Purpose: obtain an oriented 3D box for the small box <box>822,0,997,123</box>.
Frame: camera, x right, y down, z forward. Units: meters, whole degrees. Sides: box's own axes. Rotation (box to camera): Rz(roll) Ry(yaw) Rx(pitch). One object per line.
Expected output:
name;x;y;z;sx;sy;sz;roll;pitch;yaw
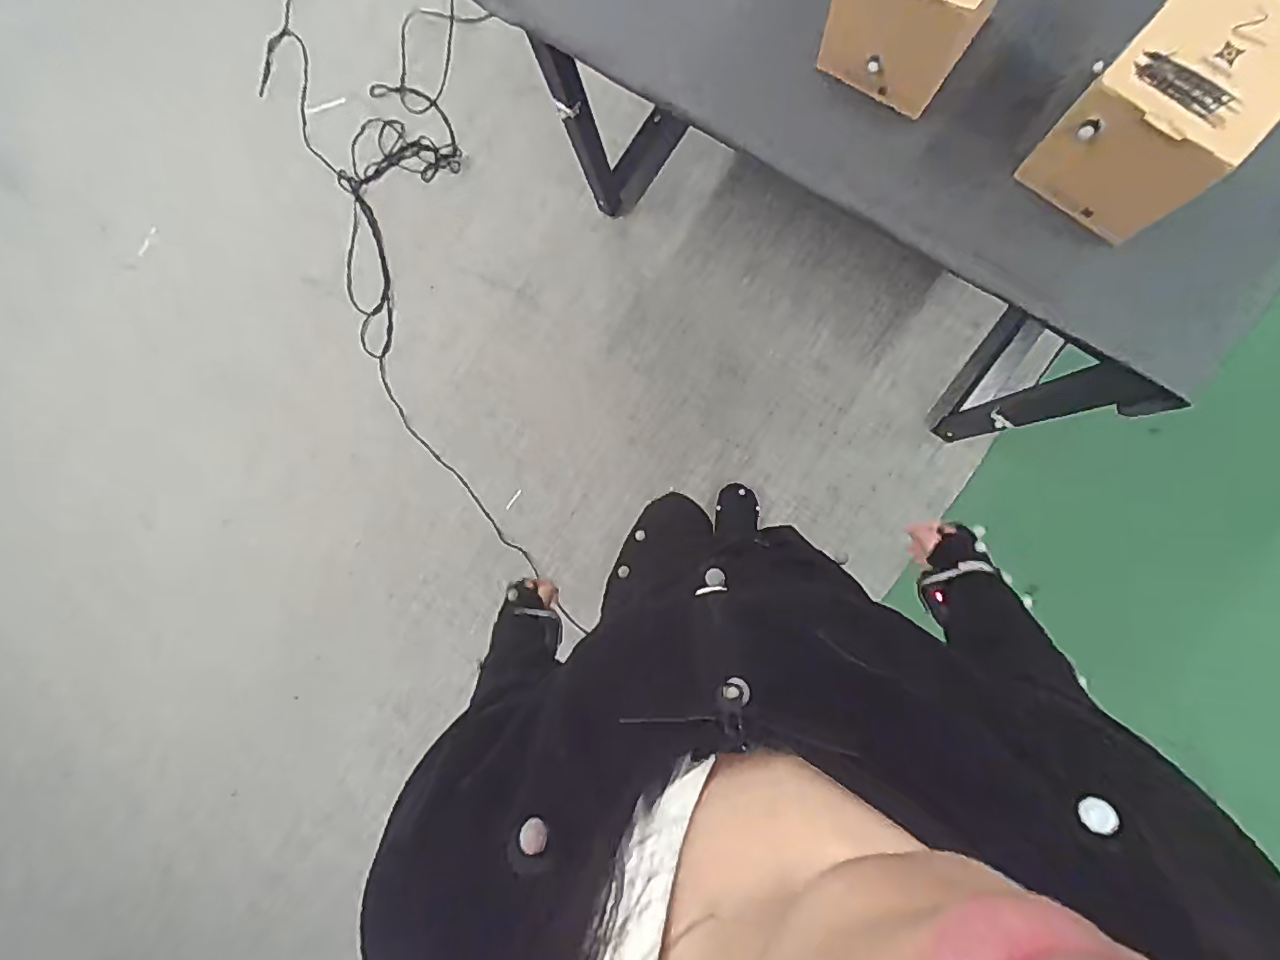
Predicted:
small box;0.356;-0.616;0.689;0.168;0.176;0.179;35;92;8
